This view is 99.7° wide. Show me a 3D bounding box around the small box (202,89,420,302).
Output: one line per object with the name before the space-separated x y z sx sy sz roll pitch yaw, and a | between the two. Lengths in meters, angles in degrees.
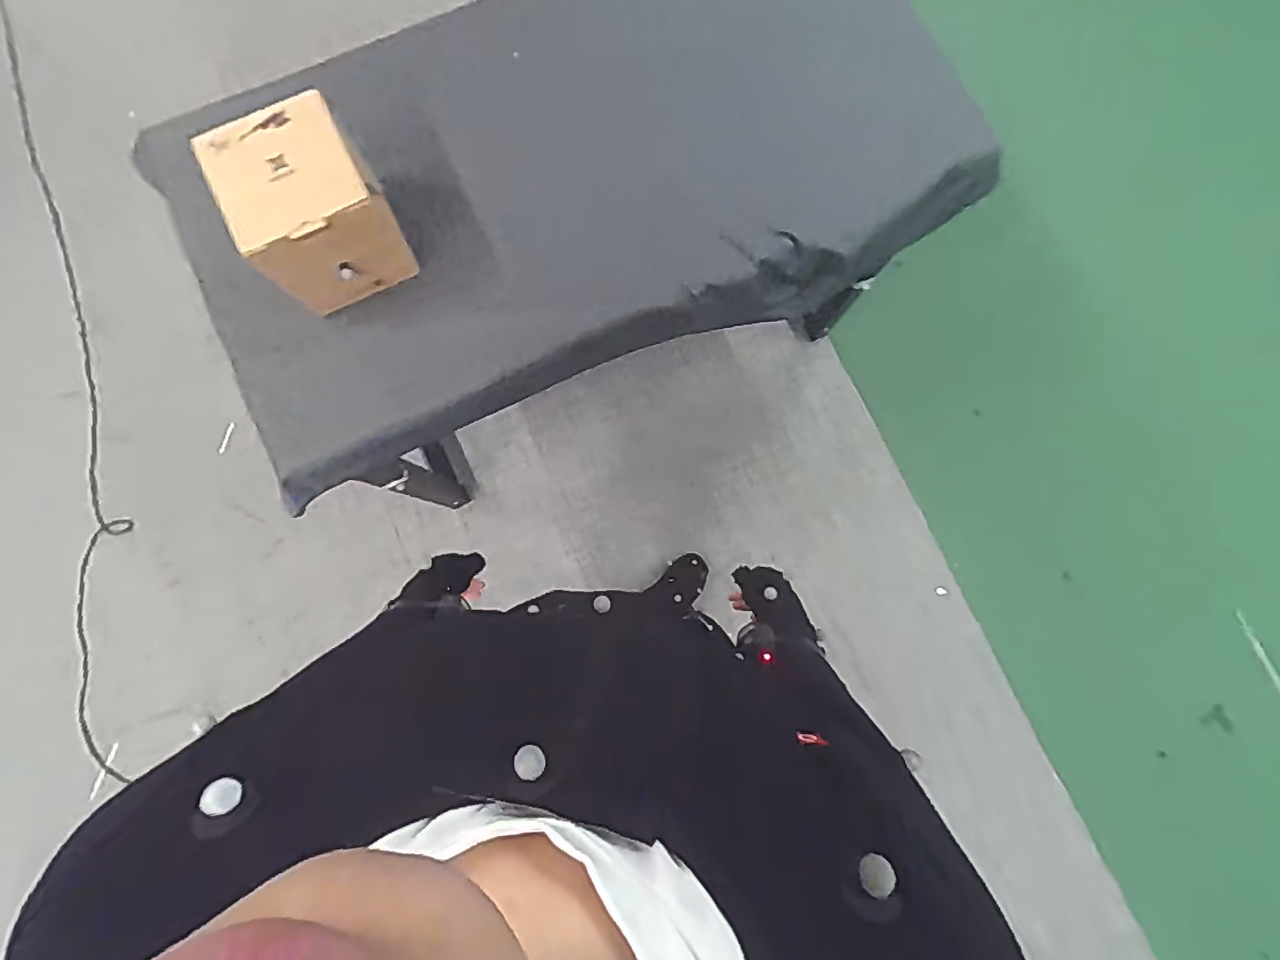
small box | -0.435 -0.372 0.746 0.168 0.176 0.179 -27 83 -4
